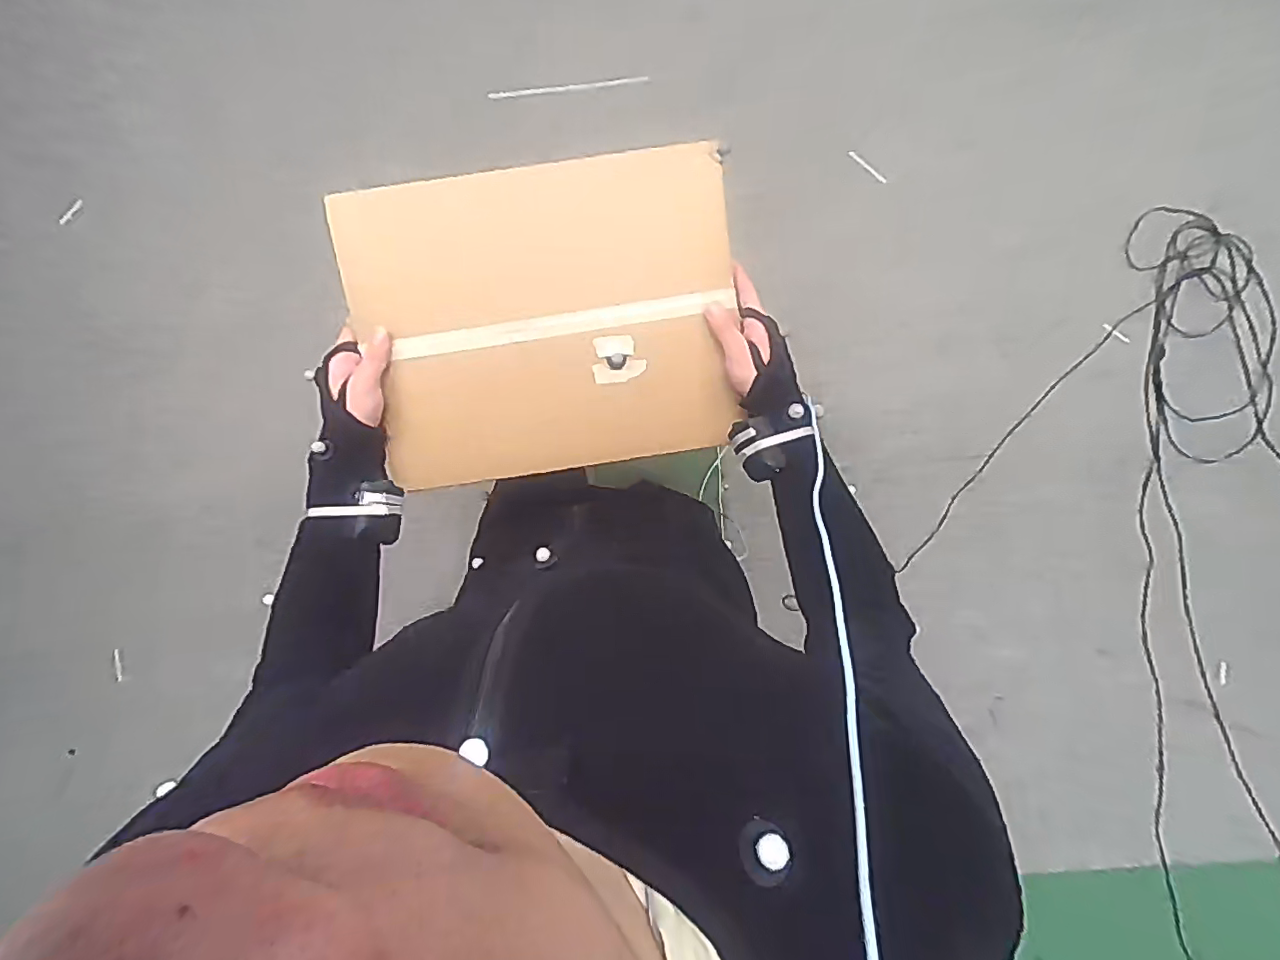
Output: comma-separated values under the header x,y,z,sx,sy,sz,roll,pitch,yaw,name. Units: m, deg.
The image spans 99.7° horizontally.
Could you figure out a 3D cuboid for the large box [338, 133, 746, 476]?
x,y,z,sx,sy,sz,roll,pitch,yaw,name
-0.104,-0.211,0.733,0.408,0.320,0.320,-9,102,-2,large box
